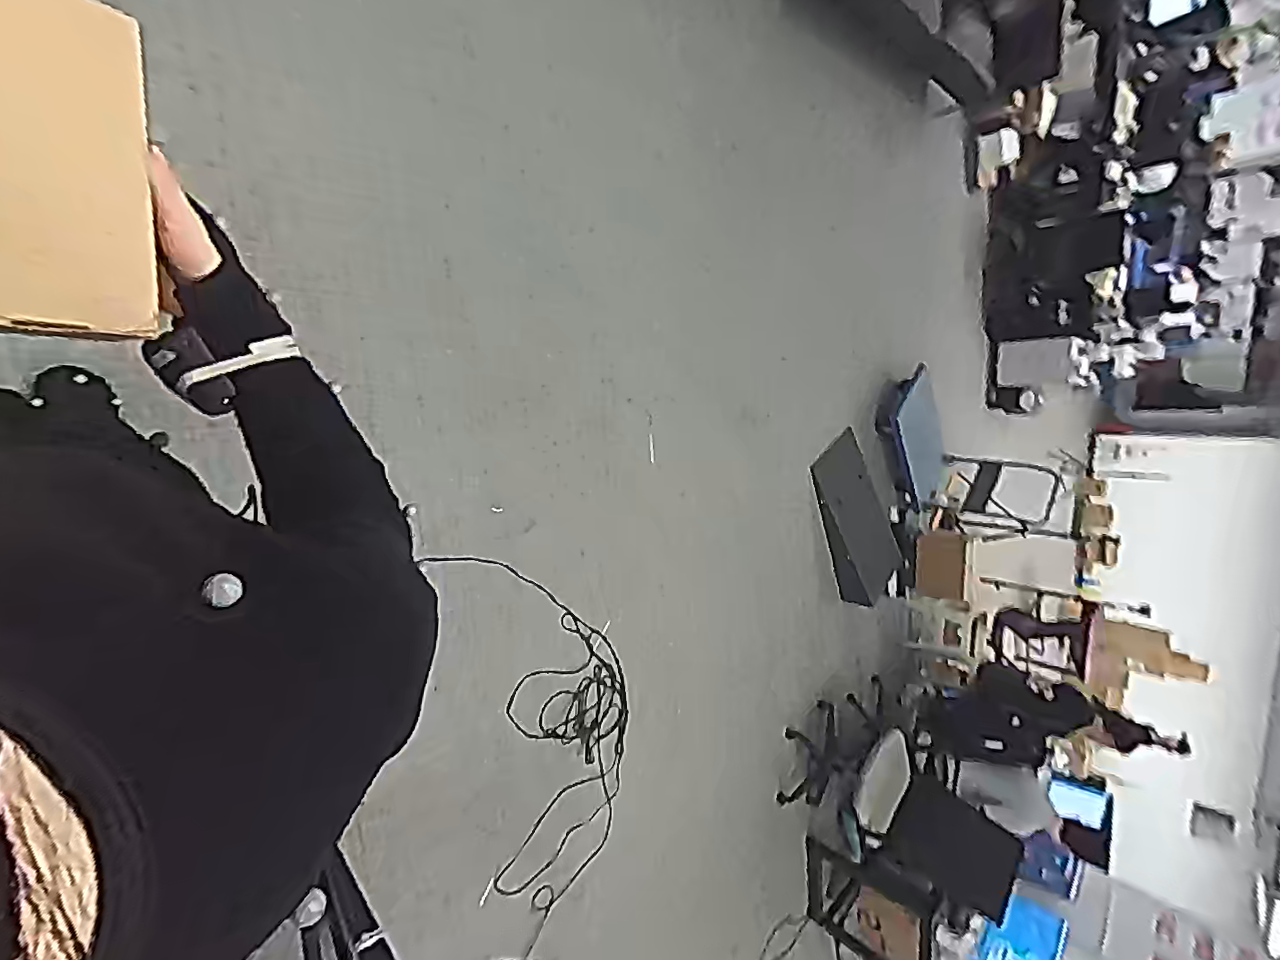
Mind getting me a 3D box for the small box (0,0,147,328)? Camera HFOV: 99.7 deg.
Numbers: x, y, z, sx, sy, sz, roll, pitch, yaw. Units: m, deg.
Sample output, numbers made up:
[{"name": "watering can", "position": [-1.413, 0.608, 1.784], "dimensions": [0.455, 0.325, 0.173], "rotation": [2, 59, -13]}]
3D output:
[{"name": "small box", "position": [-0.388, -0.182, 0.279], "dimensions": [0.168, 0.176, 0.179], "rotation": [-8, 104, -52]}]
